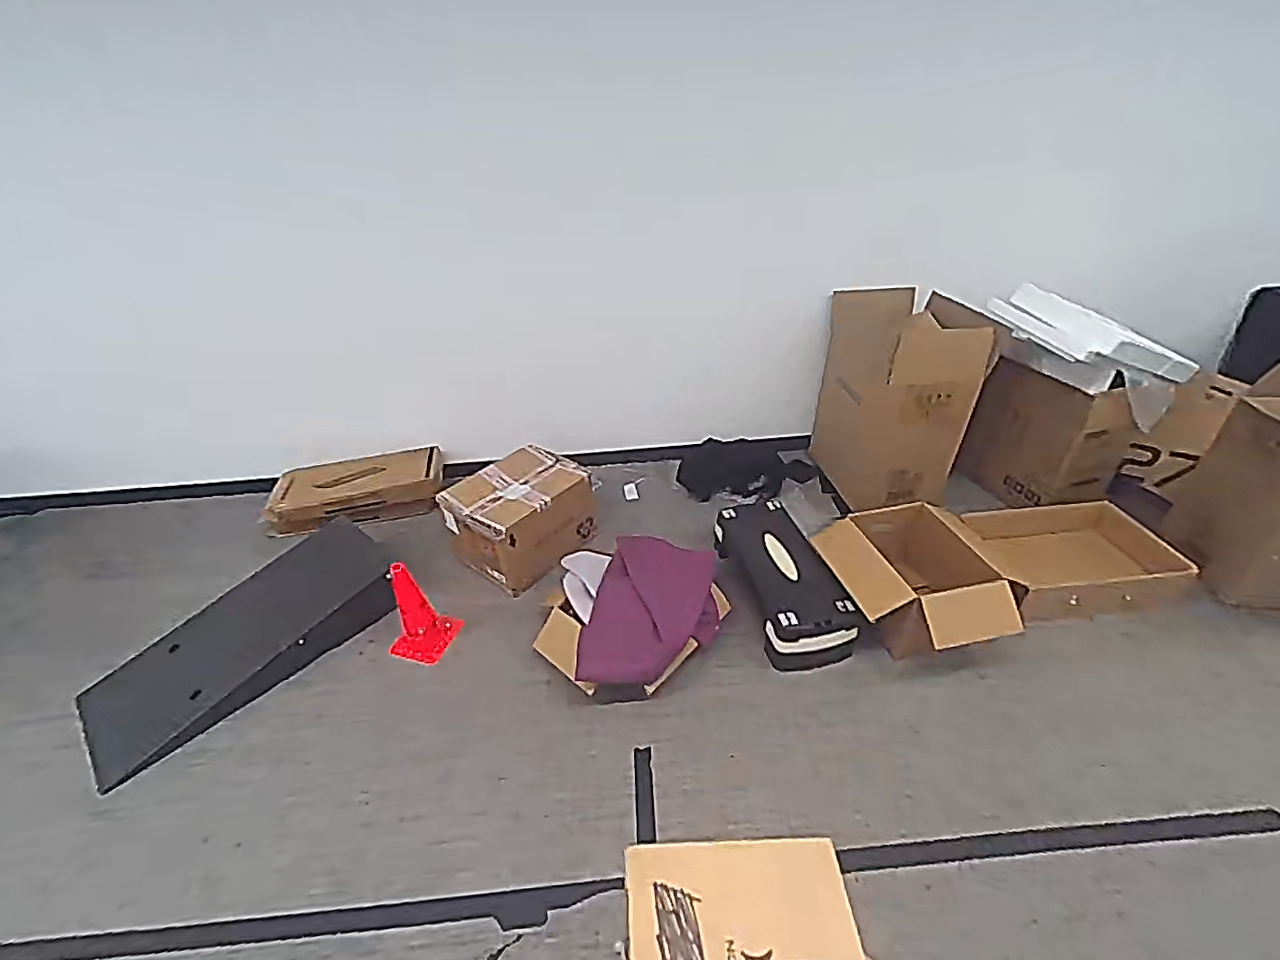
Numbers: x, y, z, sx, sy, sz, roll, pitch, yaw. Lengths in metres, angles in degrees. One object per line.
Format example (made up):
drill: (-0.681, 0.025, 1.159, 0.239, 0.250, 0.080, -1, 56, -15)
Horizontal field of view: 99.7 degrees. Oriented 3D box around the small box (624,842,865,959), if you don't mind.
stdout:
small box: (0.079, 0.418, 0.431, 0.179, 0.176, 0.168, -1, 36, -1)
